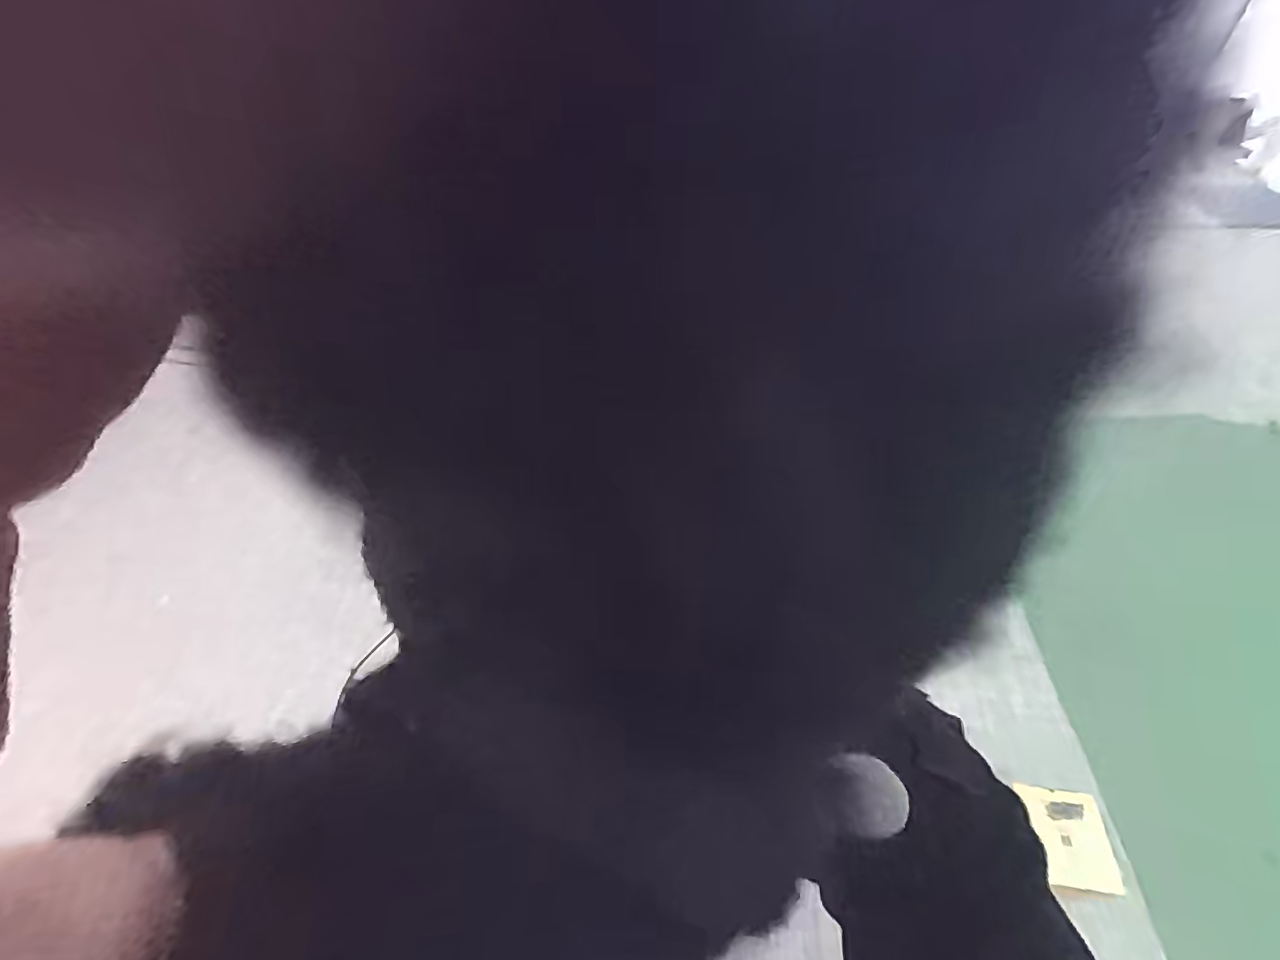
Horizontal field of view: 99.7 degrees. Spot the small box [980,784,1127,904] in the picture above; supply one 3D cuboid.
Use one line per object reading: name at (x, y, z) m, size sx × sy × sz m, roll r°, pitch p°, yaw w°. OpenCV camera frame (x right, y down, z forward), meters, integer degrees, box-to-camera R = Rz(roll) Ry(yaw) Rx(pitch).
small box at (0.857, 0.773, 1.146) m, size 0.168 × 0.176 × 0.179 m, roll 6°, pitch 50°, yaw 6°
